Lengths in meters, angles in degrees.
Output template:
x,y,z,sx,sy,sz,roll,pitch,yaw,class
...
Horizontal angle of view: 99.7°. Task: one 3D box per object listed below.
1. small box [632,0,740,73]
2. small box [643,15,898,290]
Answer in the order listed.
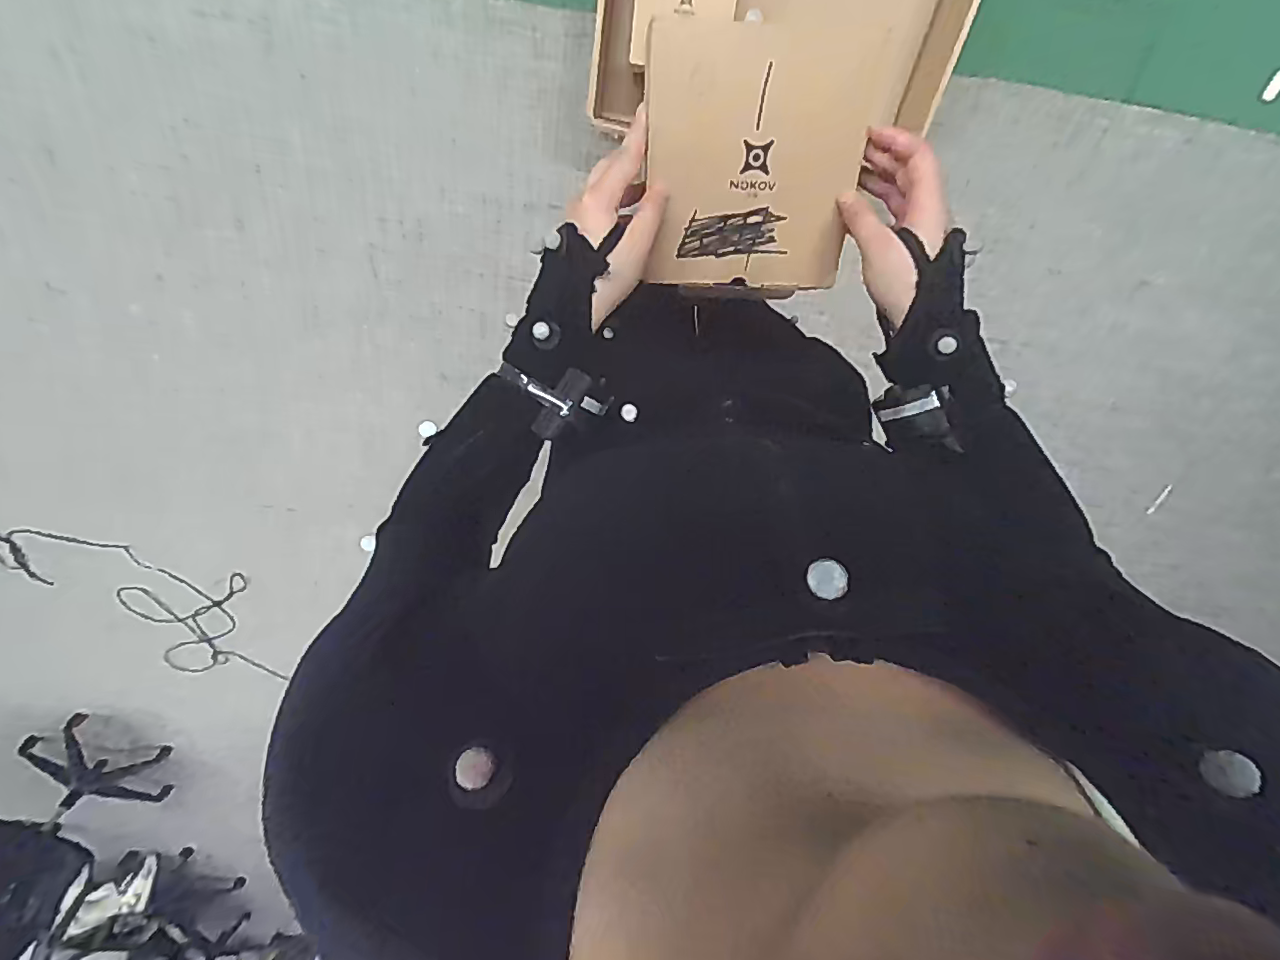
x,y,z,sx,sy,sz,roll,pitch,yaw,class
0.078,-0.807,0.931,0.168,0.176,0.179,7,123,-3,small box
0.089,-0.282,0.473,0.168,0.176,0.179,1,126,-2,small box
